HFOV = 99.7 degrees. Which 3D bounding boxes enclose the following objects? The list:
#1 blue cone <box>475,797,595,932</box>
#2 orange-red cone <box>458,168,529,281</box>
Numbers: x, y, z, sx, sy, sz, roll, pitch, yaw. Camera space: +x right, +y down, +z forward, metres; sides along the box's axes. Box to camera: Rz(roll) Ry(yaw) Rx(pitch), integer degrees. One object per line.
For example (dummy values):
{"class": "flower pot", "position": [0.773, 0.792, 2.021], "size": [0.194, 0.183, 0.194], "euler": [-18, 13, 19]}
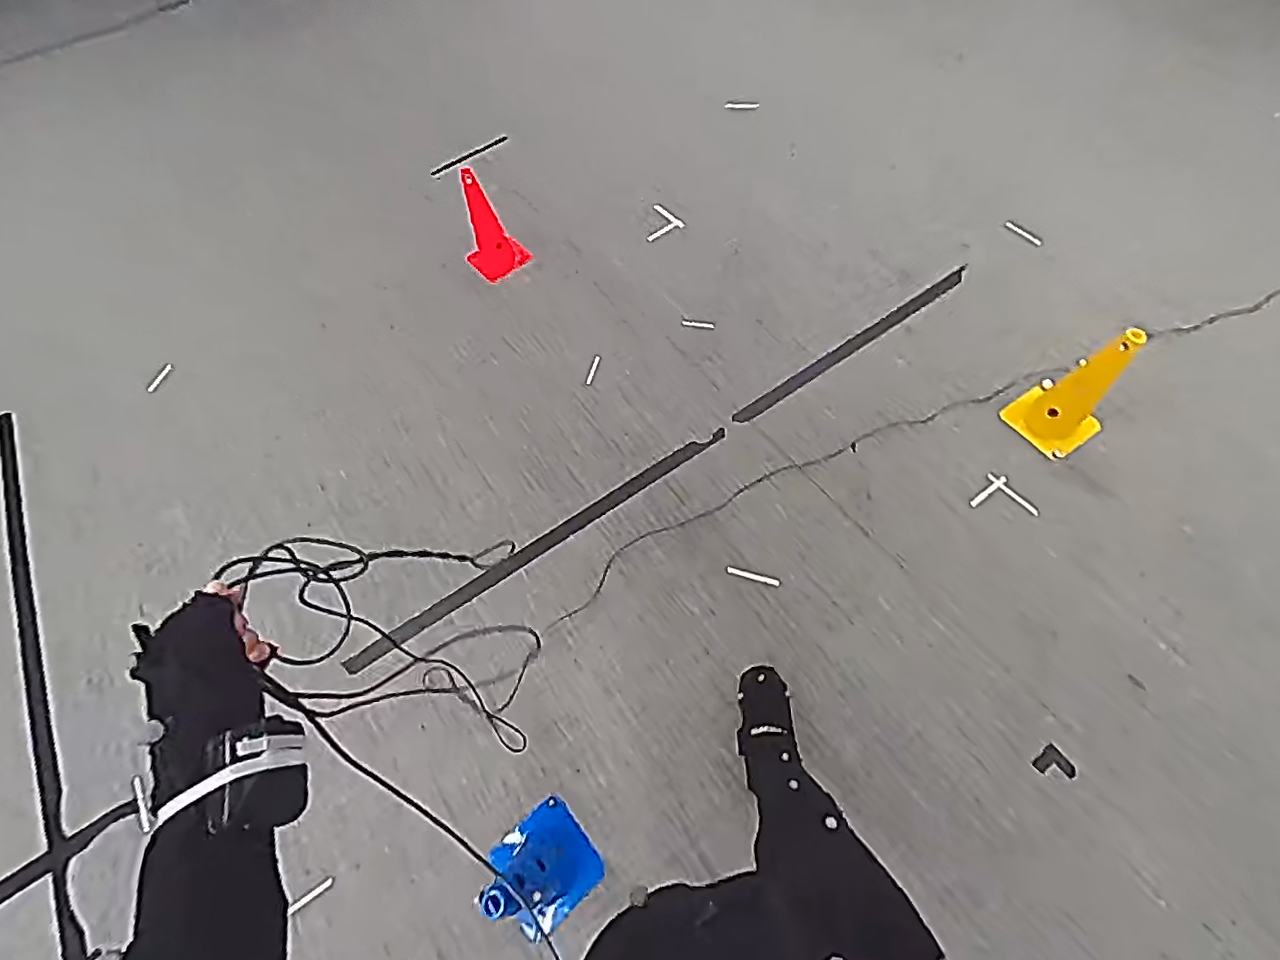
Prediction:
{"class": "blue cone", "position": [-0.226, 0.753, 1.024], "size": [0.193, 0.380, 0.192], "euler": [-38, 65, -14]}
{"class": "orange-red cone", "position": [-0.569, -0.939, 1.947], "size": [0.199, 0.360, 0.198], "euler": [-38, 64, -12]}
